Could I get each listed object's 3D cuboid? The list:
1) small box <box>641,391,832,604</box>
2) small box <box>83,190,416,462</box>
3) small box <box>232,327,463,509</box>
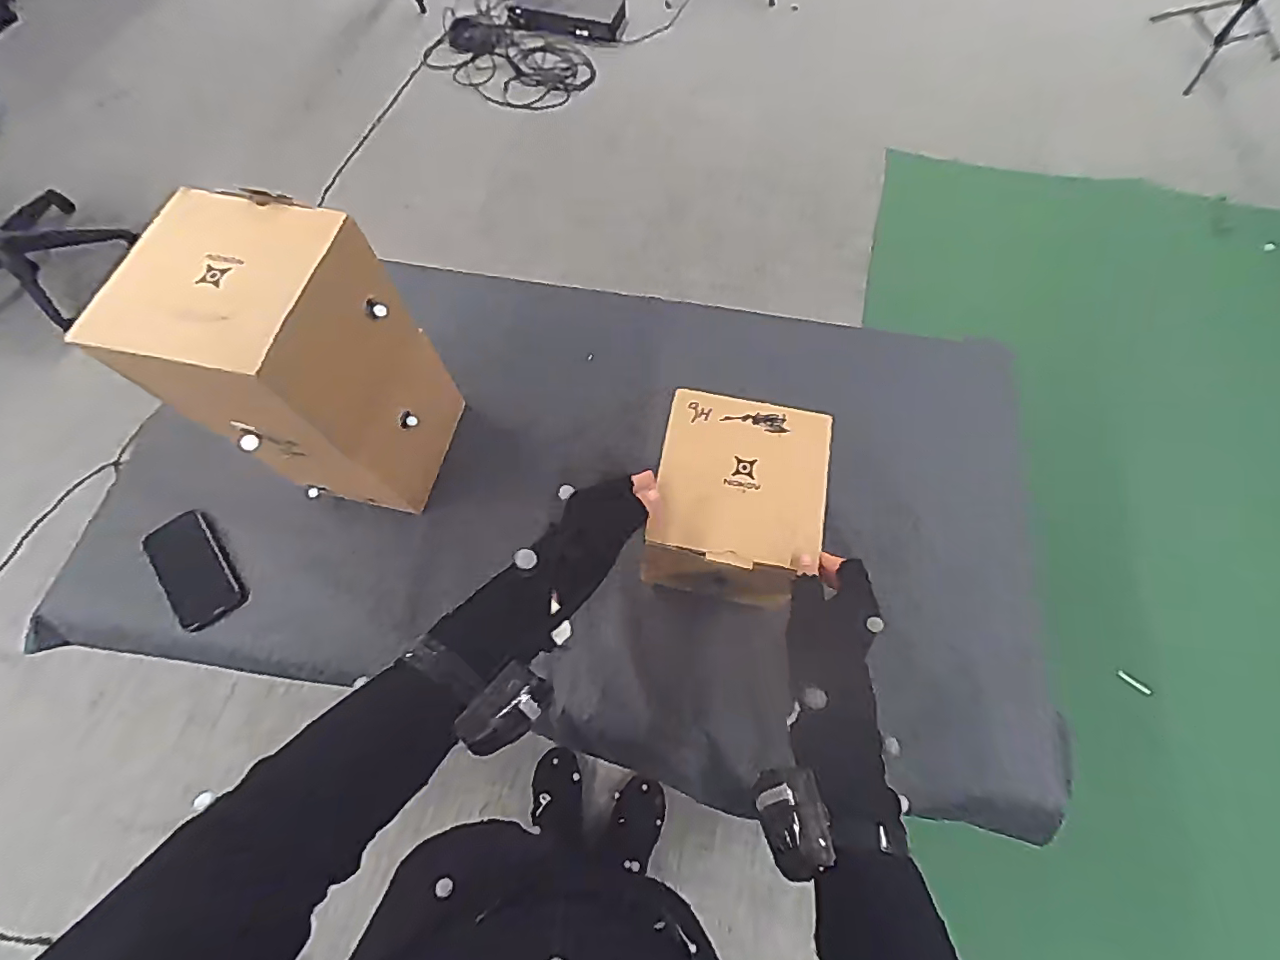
[{"bbox_3d":[0.101,0.029,0.608,0.168,0.176,0.179,12,68,6],"label":"small box"},{"bbox_3d":[-0.345,-0.140,0.525,0.168,0.176,0.179,10,68,6],"label":"small box"},{"bbox_3d":[-0.343,-0.081,0.676,0.168,0.176,0.179,12,67,5],"label":"small box"}]
